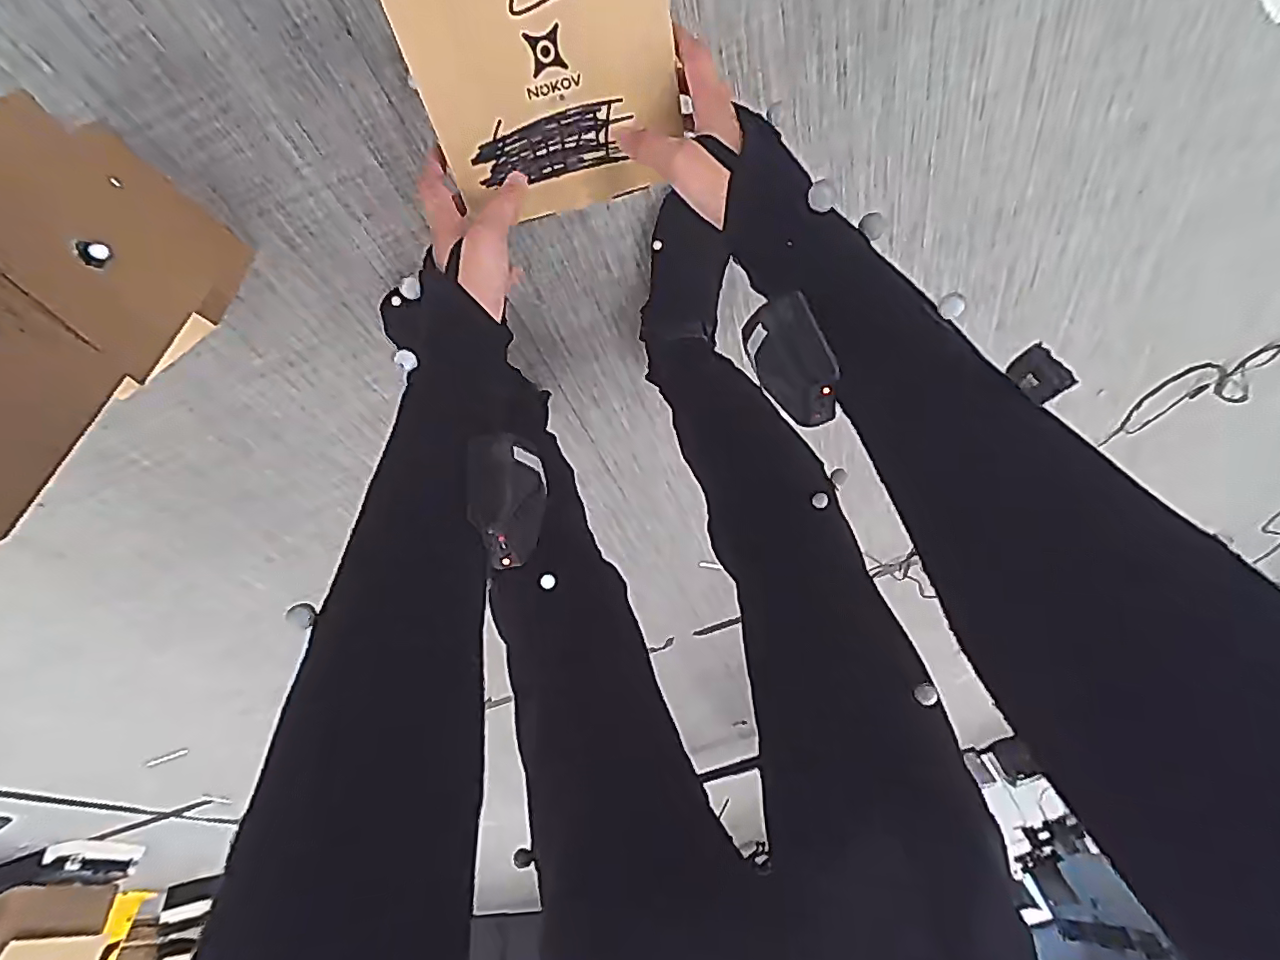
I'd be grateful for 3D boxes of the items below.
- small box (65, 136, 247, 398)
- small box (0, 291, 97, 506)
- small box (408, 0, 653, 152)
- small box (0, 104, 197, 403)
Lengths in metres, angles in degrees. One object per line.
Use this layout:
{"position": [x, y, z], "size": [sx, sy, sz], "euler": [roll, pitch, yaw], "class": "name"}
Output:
{"position": [-0.575, -0.230, 0.577], "size": [0.168, 0.176, 0.179], "euler": [-28, 138, 14], "class": "small box"}
{"position": [-0.492, -0.040, 0.314], "size": [0.179, 0.176, 0.168], "euler": [-23, 138, 9], "class": "small box"}
{"position": [-0.106, -0.440, 0.493], "size": [0.179, 0.176, 0.168], "euler": [-21, 139, 4], "class": "small box"}
{"position": [-0.510, -0.164, 0.421], "size": [0.168, 0.176, 0.179], "euler": [-18, 139, 3], "class": "small box"}
